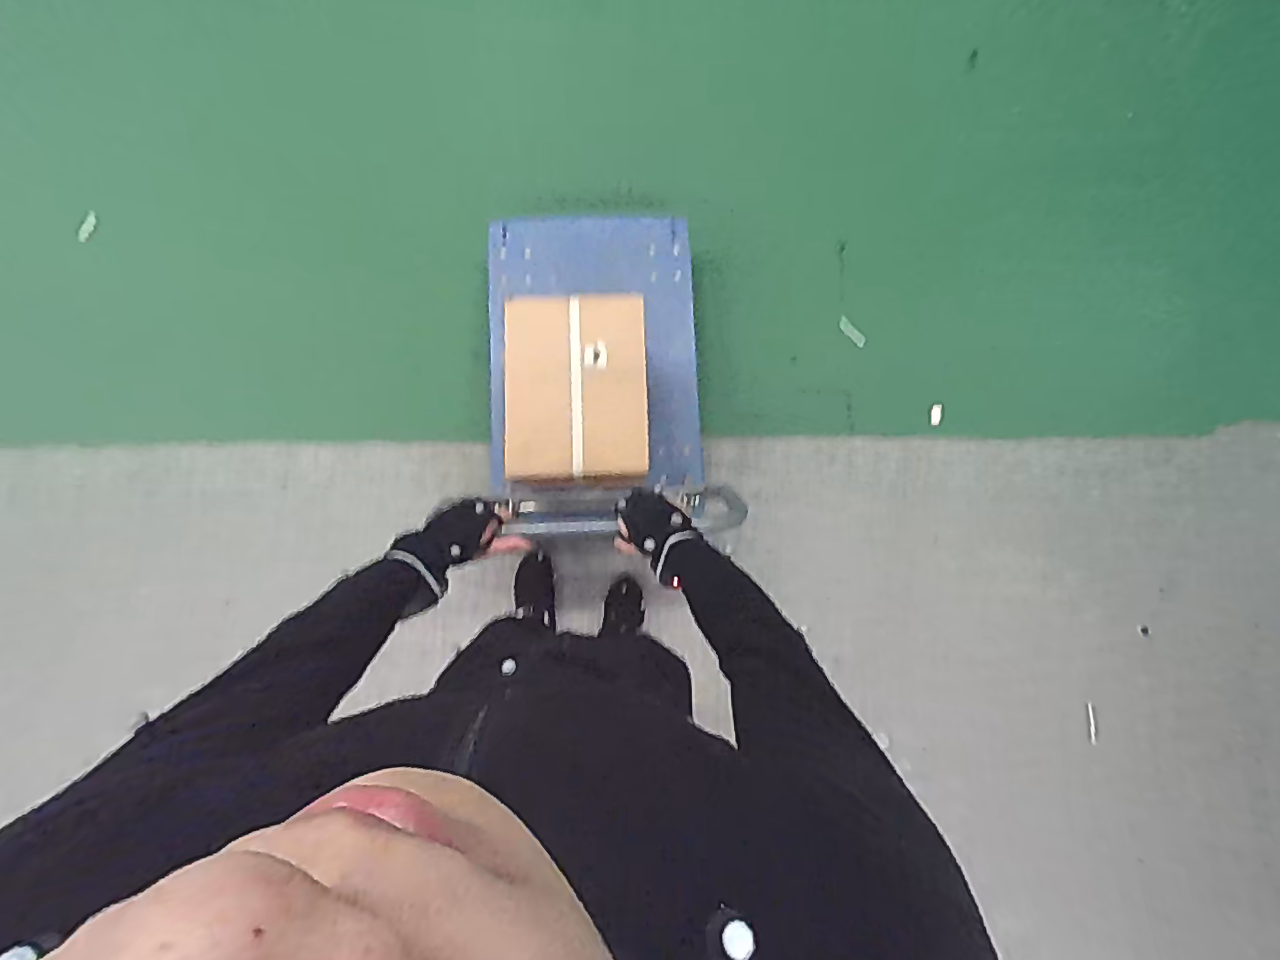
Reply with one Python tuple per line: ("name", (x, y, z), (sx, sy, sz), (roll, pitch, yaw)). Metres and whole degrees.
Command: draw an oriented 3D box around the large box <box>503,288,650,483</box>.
("large box", (-0.146, -0.210, 1.331), (0.320, 0.320, 0.408), (-2, 84, -3))
